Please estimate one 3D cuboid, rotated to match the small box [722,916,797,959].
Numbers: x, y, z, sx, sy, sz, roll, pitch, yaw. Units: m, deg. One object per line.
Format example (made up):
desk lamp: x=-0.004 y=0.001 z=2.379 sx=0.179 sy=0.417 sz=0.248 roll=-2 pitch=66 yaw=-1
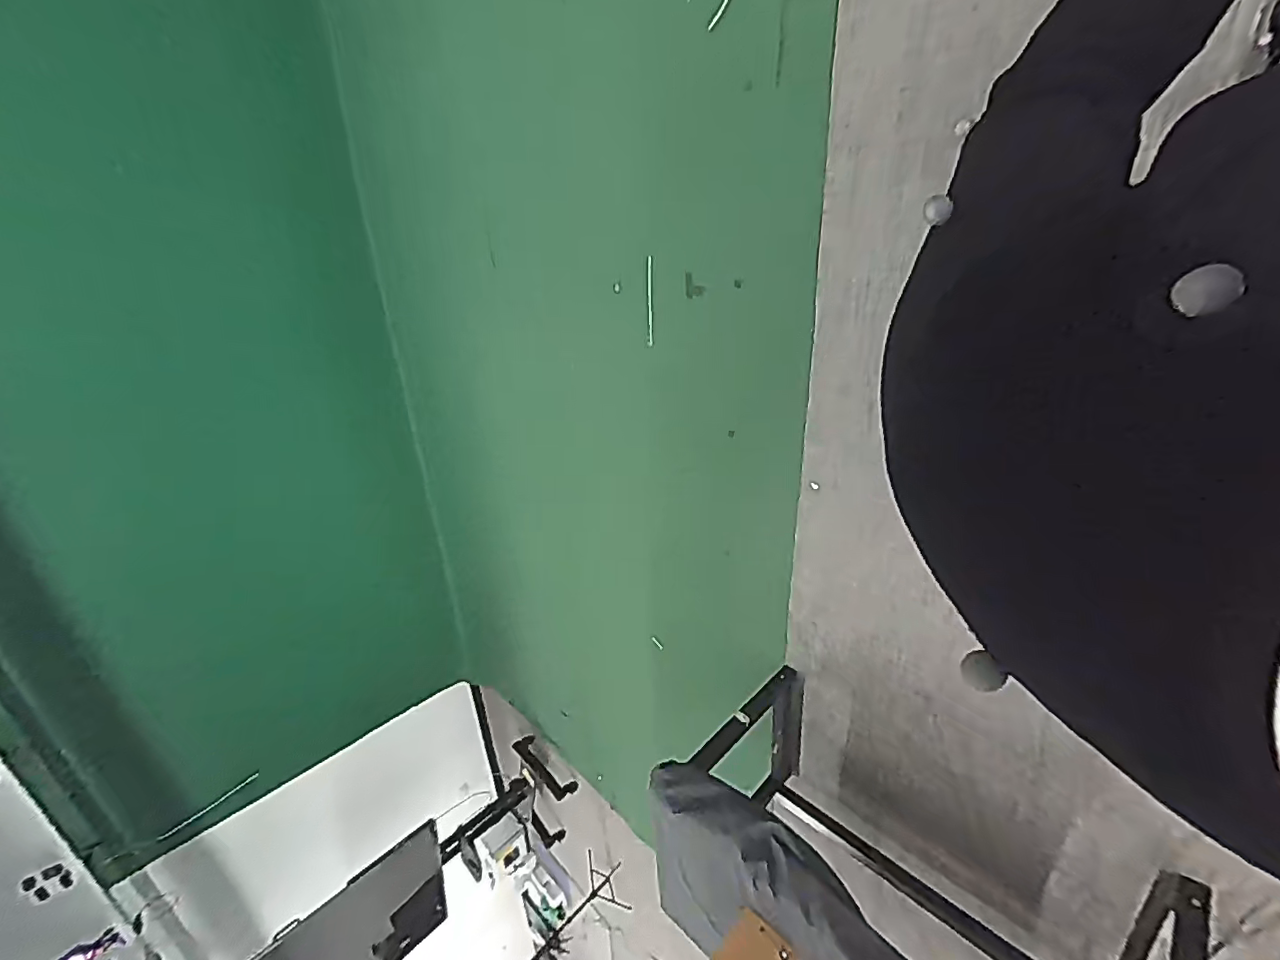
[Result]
small box: x=0.302 y=1.270 z=1.366 sx=0.168 sy=0.176 sz=0.179 roll=20 pitch=124 yaw=41
